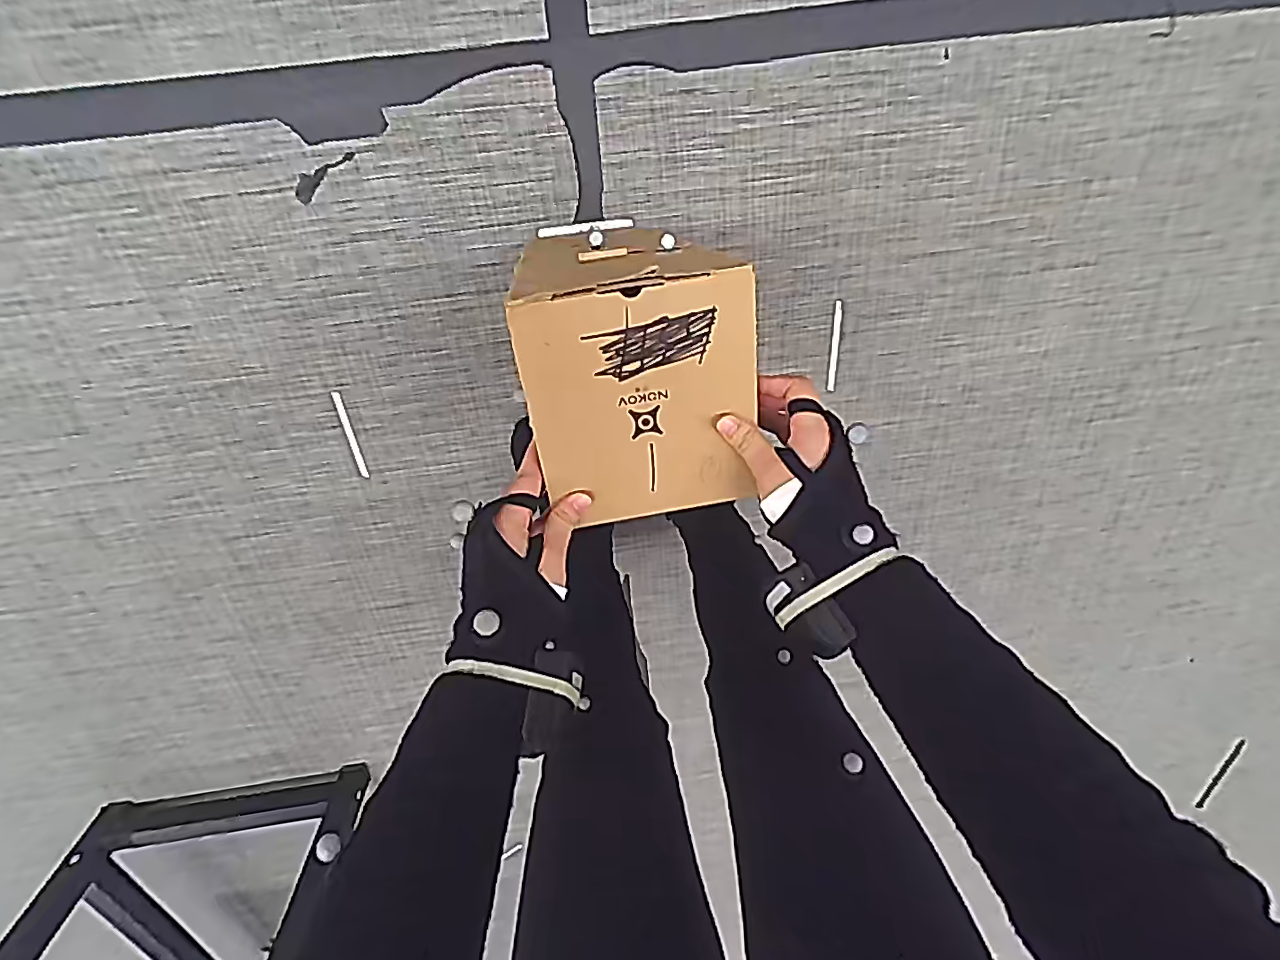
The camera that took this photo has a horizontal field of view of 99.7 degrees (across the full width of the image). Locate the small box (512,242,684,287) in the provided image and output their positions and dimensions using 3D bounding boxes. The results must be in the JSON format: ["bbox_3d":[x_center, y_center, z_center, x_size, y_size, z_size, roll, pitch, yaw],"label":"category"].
[{"bbox_3d":[-0.040,-0.164,0.605,0.168,0.176,0.179,-10,118,-3],"label":"small box"}]

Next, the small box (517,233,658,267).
[{"bbox_3d":[-0.063,-0.241,0.747,0.179,0.176,0.168,-8,118,-3],"label":"small box"}]

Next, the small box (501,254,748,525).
[{"bbox_3d":[-0.014,-0.089,0.462,0.168,0.176,0.179,-10,119,-3],"label":"small box"}]
